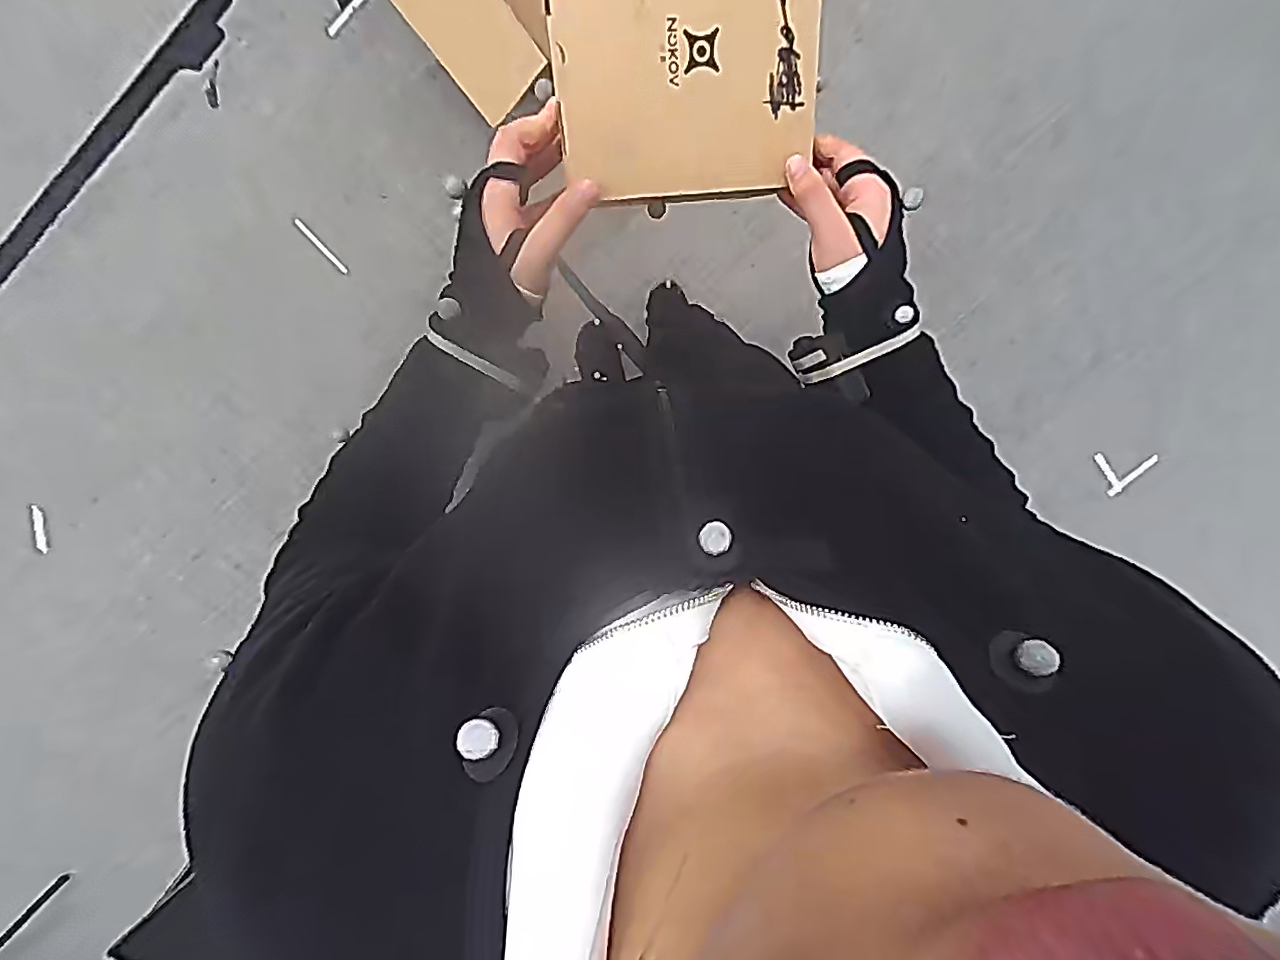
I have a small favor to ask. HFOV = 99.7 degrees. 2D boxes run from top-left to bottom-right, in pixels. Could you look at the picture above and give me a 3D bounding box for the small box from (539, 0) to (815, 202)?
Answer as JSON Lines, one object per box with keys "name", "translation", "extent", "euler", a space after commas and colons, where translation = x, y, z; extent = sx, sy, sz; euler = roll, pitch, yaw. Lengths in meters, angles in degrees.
{"name": "small box", "translation": [0.021, -0.316, 0.419], "extent": [0.179, 0.176, 0.168], "euler": [-6, 115, -3]}
